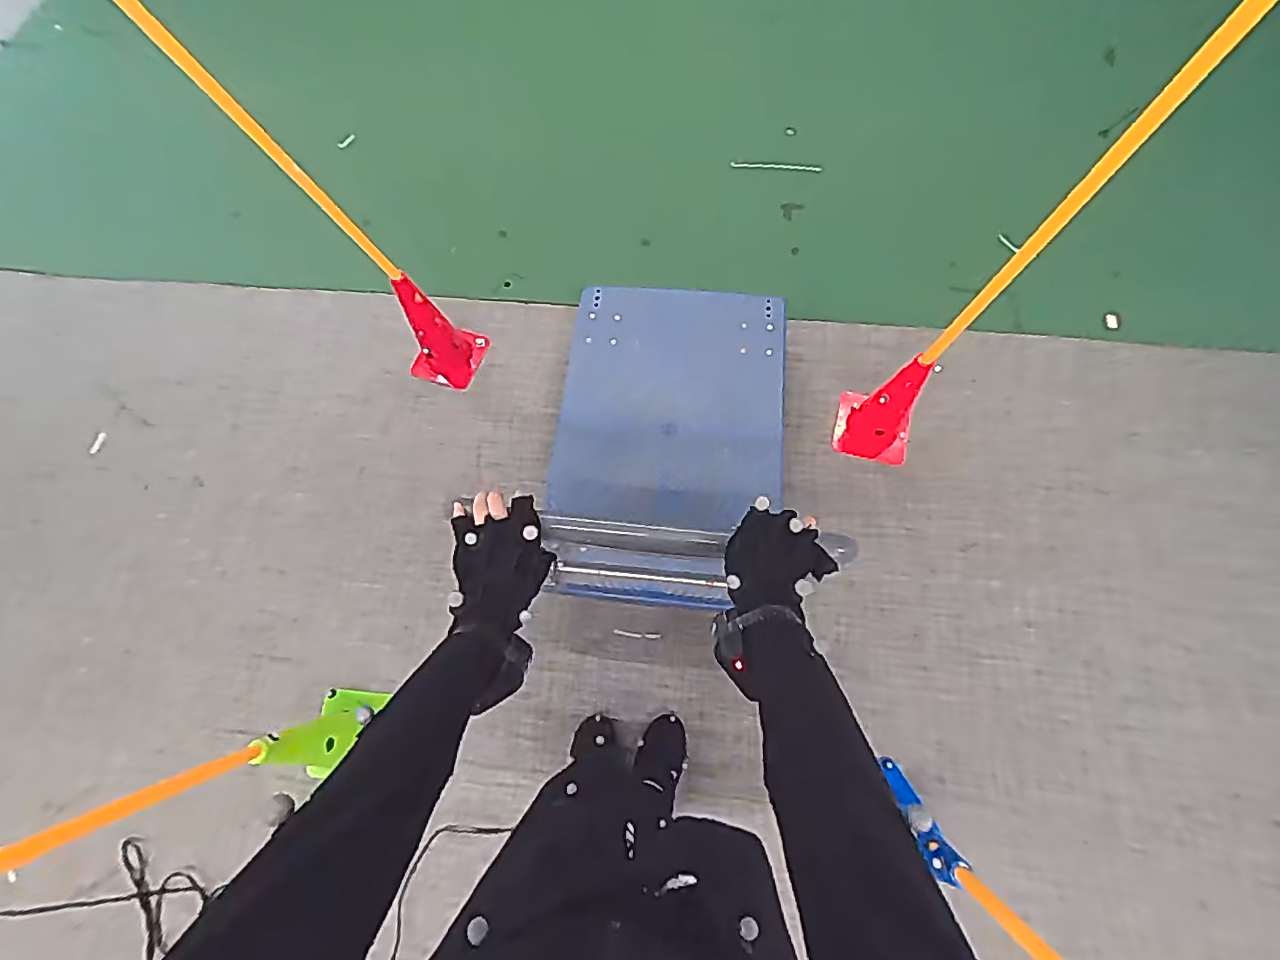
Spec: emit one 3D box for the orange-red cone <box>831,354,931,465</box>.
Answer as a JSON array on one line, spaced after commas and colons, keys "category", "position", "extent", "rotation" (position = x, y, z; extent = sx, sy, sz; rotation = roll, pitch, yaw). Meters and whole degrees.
[{"category": "orange-red cone", "position": [0.652, -0.207, 1.387], "extent": [0.198, 0.360, 0.199], "rotation": [16, 71, 9]}]
